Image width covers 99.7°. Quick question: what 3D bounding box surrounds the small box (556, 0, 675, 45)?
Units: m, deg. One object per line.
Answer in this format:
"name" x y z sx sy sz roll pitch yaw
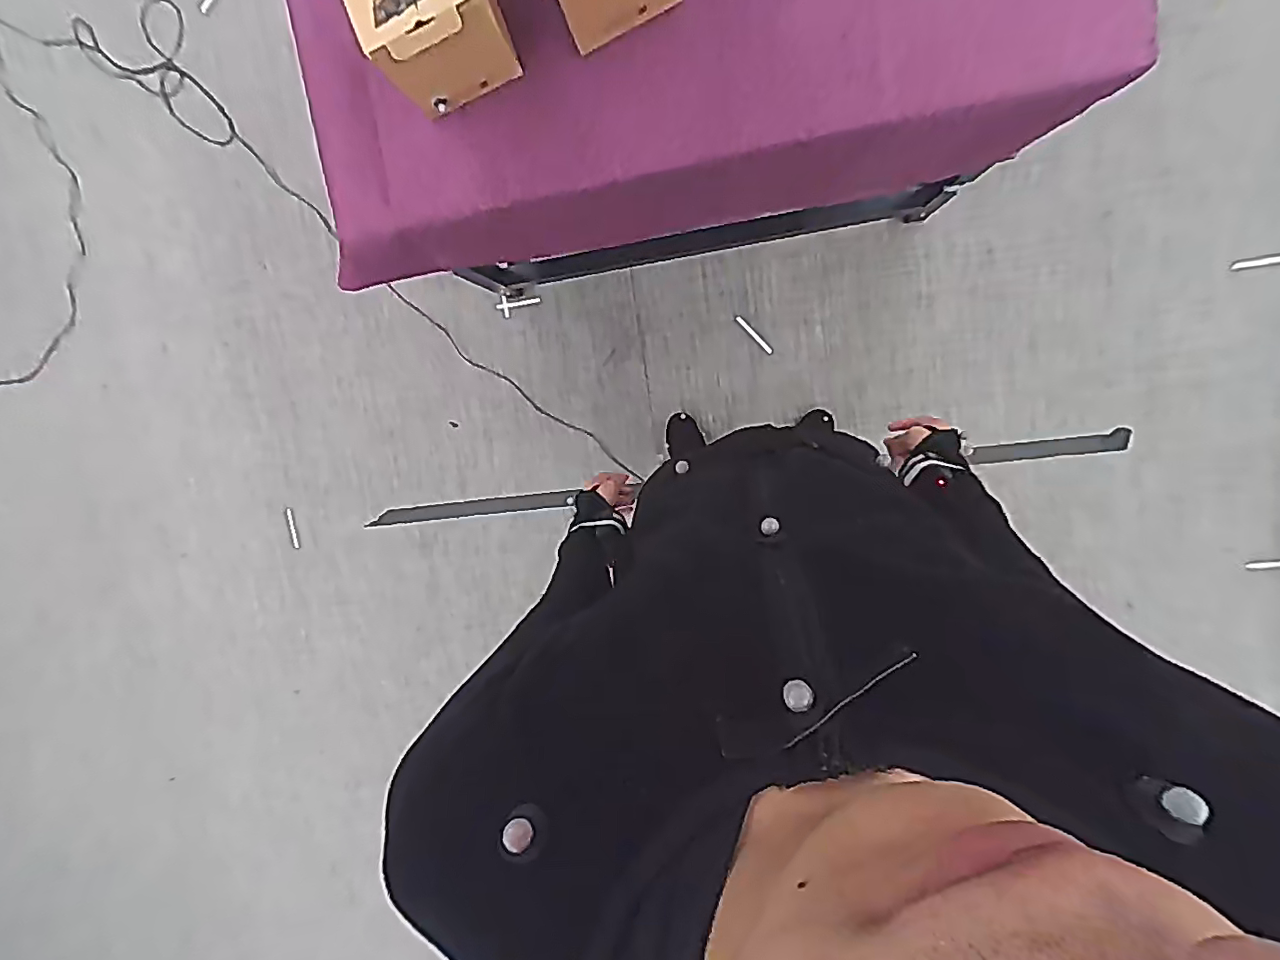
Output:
"small box" -0.056 -0.730 0.714 0.168 0.176 0.179 -21 96 9

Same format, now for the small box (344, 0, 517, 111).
"small box" -0.294 -0.658 0.754 0.168 0.176 0.179 -19 95 10
